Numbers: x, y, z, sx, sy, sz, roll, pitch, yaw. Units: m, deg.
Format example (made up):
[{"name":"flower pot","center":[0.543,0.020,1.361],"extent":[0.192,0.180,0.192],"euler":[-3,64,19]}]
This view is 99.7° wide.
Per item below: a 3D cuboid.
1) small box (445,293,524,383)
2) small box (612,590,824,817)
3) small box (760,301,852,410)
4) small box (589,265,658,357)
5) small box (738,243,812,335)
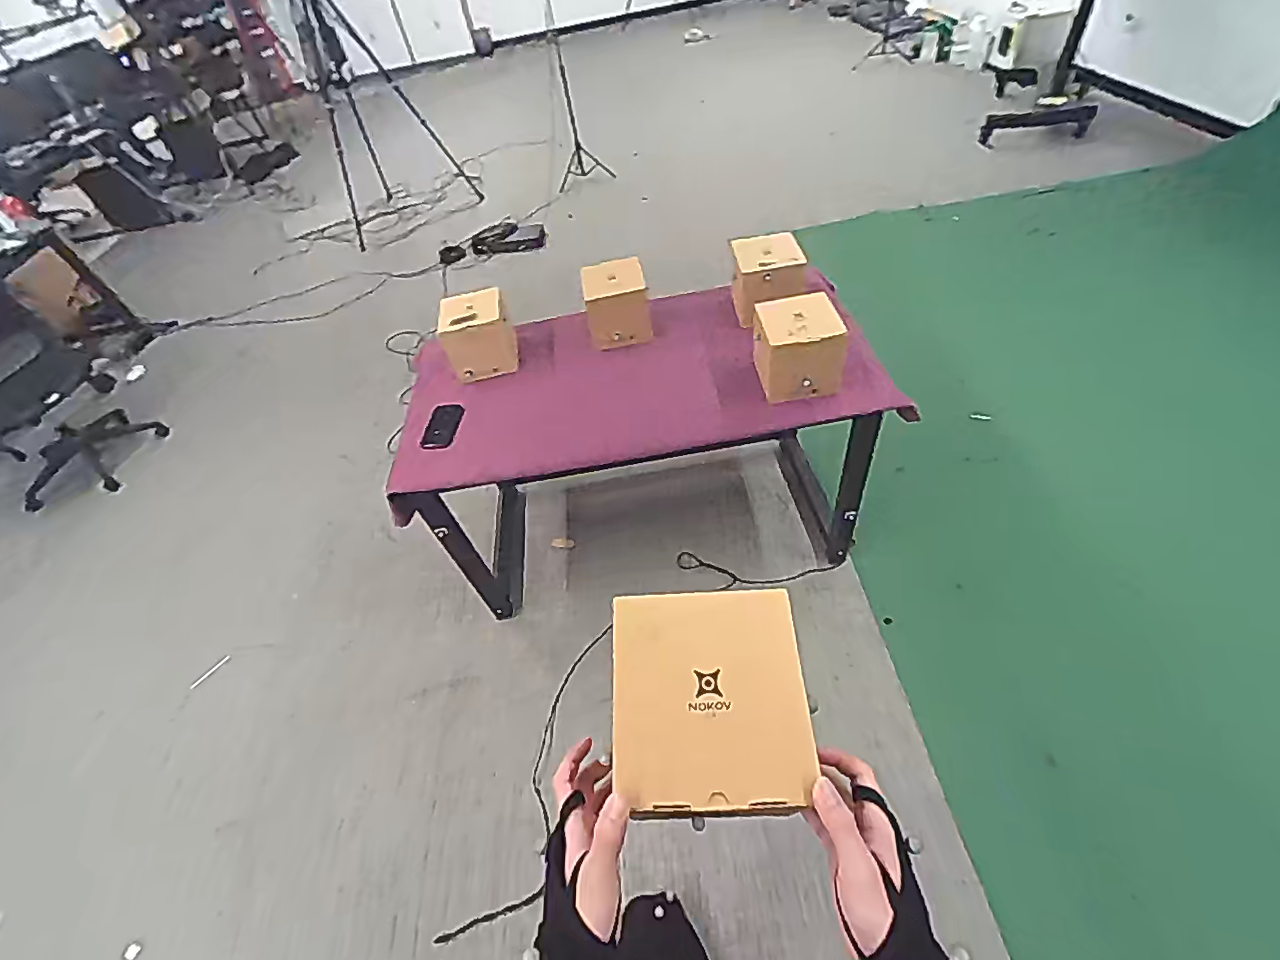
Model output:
[{"name":"small box","center":[-0.426,-0.388,1.506],"extent":[0.168,0.176,0.179],"euler":[-12,47,-1]},{"name":"small box","center":[0.062,0.221,0.525],"extent":[0.168,0.176,0.179],"euler":[-3,57,2]},{"name":"small box","center":[0.378,-0.288,1.264],"extent":[0.168,0.176,0.179],"euler":[-8,48,5]},{"name":"small box","center":[-0.046,-0.471,1.512],"extent":[0.168,0.176,0.179],"euler":[-10,48,3]},{"name":"small box","center":[0.361,-0.521,1.480],"extent":[0.168,0.176,0.179],"euler":[-8,48,5]}]
